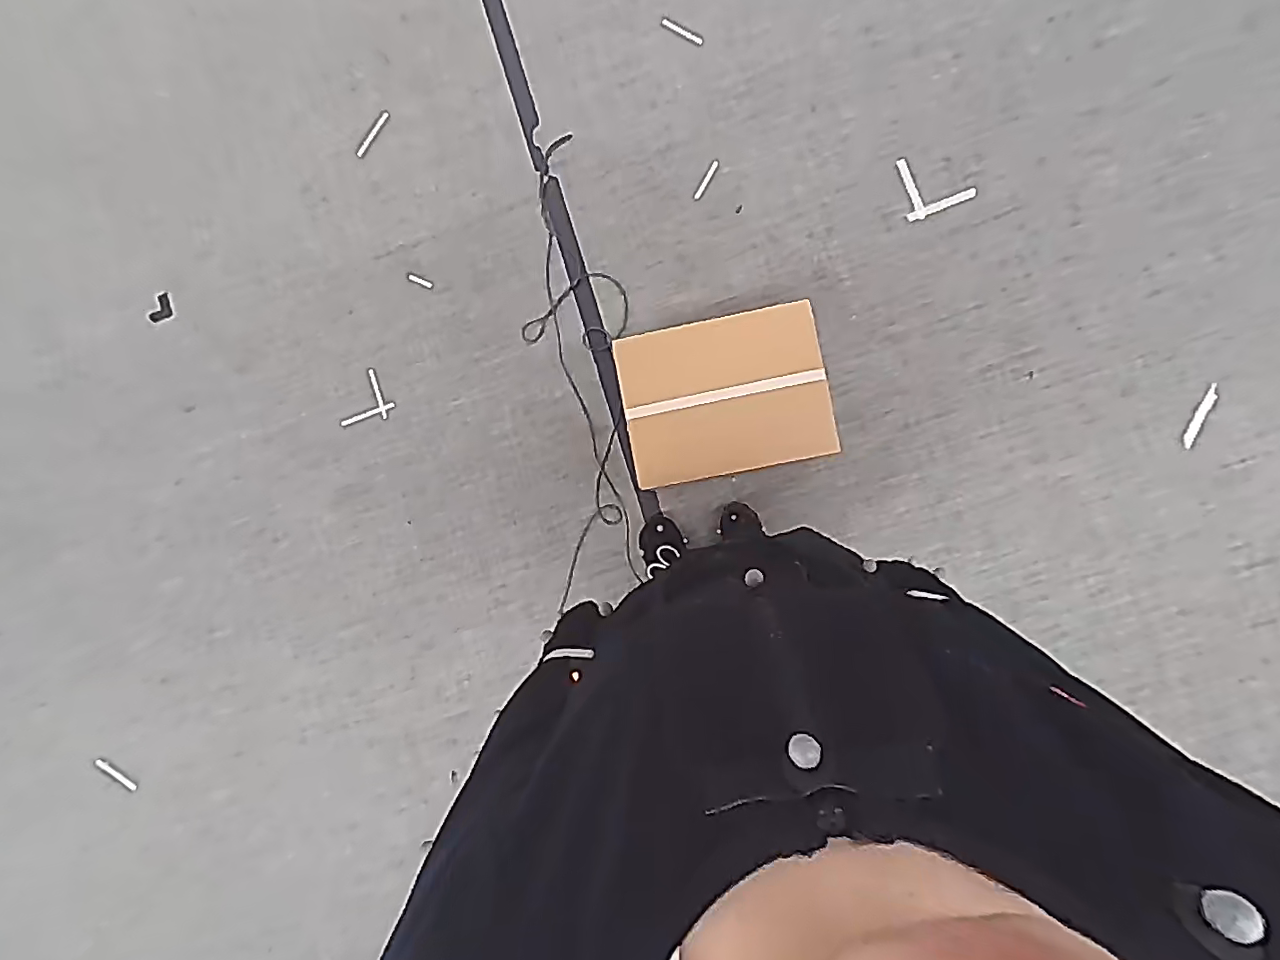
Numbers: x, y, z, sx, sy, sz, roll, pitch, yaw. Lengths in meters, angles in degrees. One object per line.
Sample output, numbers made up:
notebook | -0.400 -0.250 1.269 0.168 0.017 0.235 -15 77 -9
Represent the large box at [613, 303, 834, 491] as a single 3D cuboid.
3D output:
large box | 0.175 -0.163 1.240 0.408 0.320 0.320 -11 89 4
